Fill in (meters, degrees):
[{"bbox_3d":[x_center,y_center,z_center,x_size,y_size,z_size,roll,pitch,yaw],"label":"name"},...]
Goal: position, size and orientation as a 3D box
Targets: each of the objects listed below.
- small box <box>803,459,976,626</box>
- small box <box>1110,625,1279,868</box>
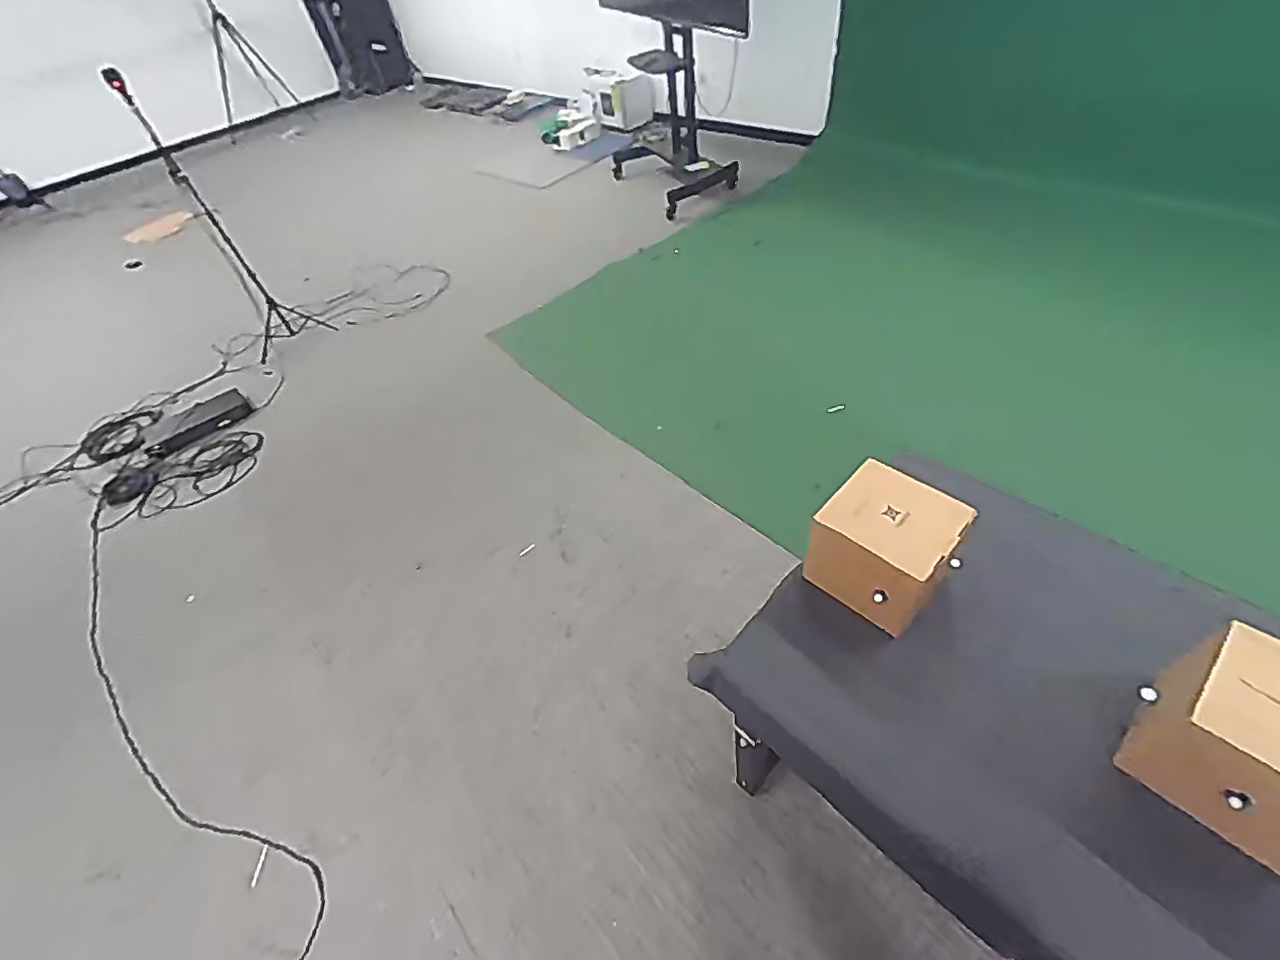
[{"bbox_3d":[0.384,0.105,0.858,0.168,0.176,0.179,-38,53,-26],"label":"small box"},{"bbox_3d":[0.711,0.310,0.624,0.168,0.176,0.179,-37,52,-24],"label":"small box"}]
